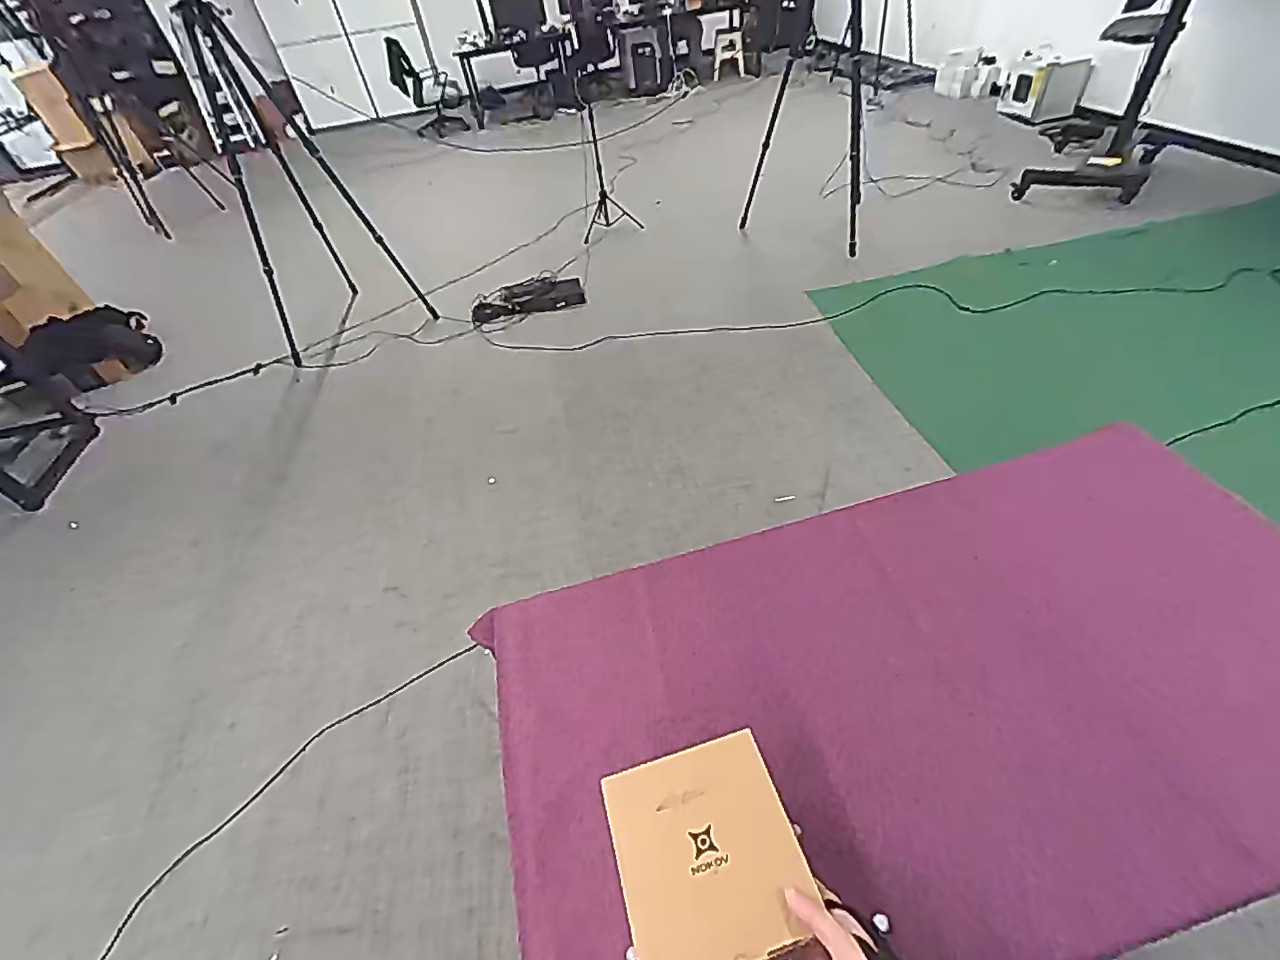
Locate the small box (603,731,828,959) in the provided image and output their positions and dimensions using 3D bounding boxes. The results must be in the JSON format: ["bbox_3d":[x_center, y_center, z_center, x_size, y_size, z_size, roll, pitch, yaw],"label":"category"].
[{"bbox_3d":[0.070,0.397,0.555,0.168,0.176,0.179,-15,43,-7],"label":"small box"}]
